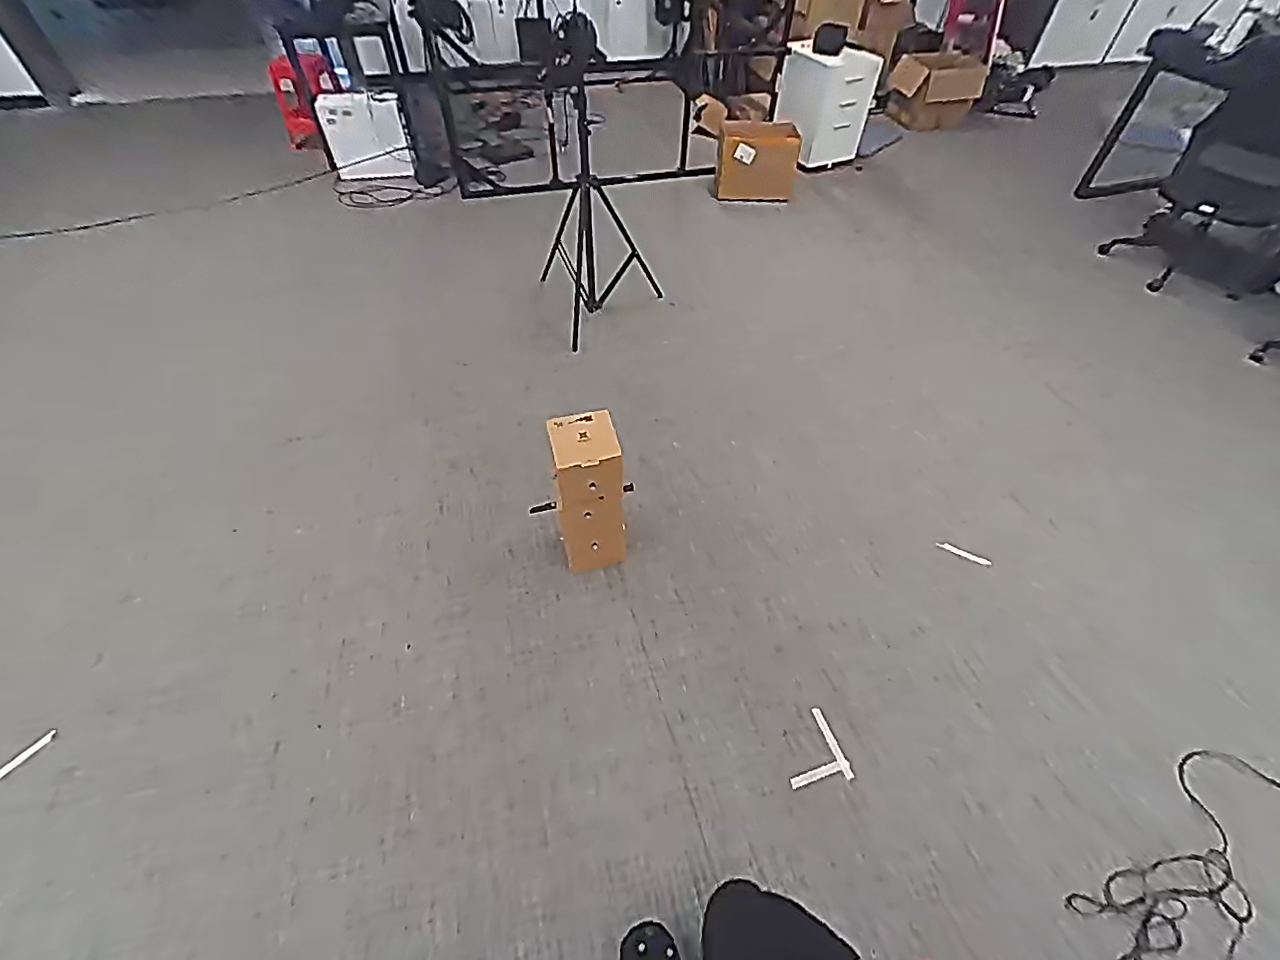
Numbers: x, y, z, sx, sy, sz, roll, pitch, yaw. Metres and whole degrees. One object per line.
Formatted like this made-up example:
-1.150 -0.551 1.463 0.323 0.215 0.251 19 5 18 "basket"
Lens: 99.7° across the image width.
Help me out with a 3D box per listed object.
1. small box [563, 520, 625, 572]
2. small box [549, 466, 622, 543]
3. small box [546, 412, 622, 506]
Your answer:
-0.150 0.162 1.666 0.179 0.176 0.168 -12 52 -11 "small box"
-0.153 0.061 1.536 0.179 0.176 0.168 -10 52 -9 "small box"
-0.143 -0.047 1.413 0.168 0.176 0.179 -11 53 -10 "small box"
